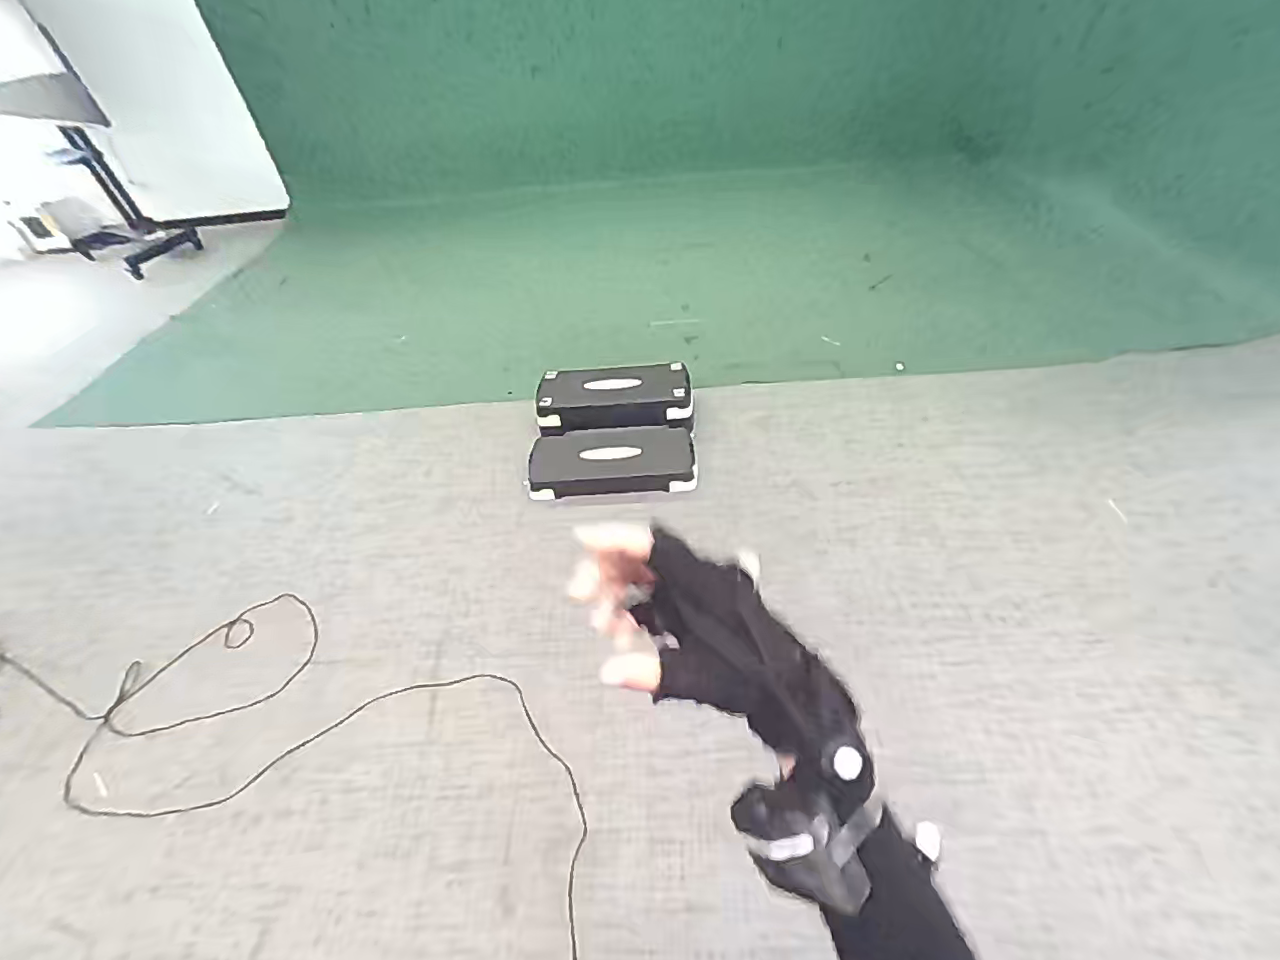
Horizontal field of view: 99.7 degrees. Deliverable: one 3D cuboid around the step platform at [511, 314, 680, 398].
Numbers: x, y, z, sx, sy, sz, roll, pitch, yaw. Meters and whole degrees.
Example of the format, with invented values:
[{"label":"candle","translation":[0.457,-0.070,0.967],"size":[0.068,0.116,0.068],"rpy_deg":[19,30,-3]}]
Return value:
[{"label":"step platform","translation":[-0.175,-0.517,2.257],"size":[0.684,0.204,0.286],"rpy_deg":[-4,45,3]}]
